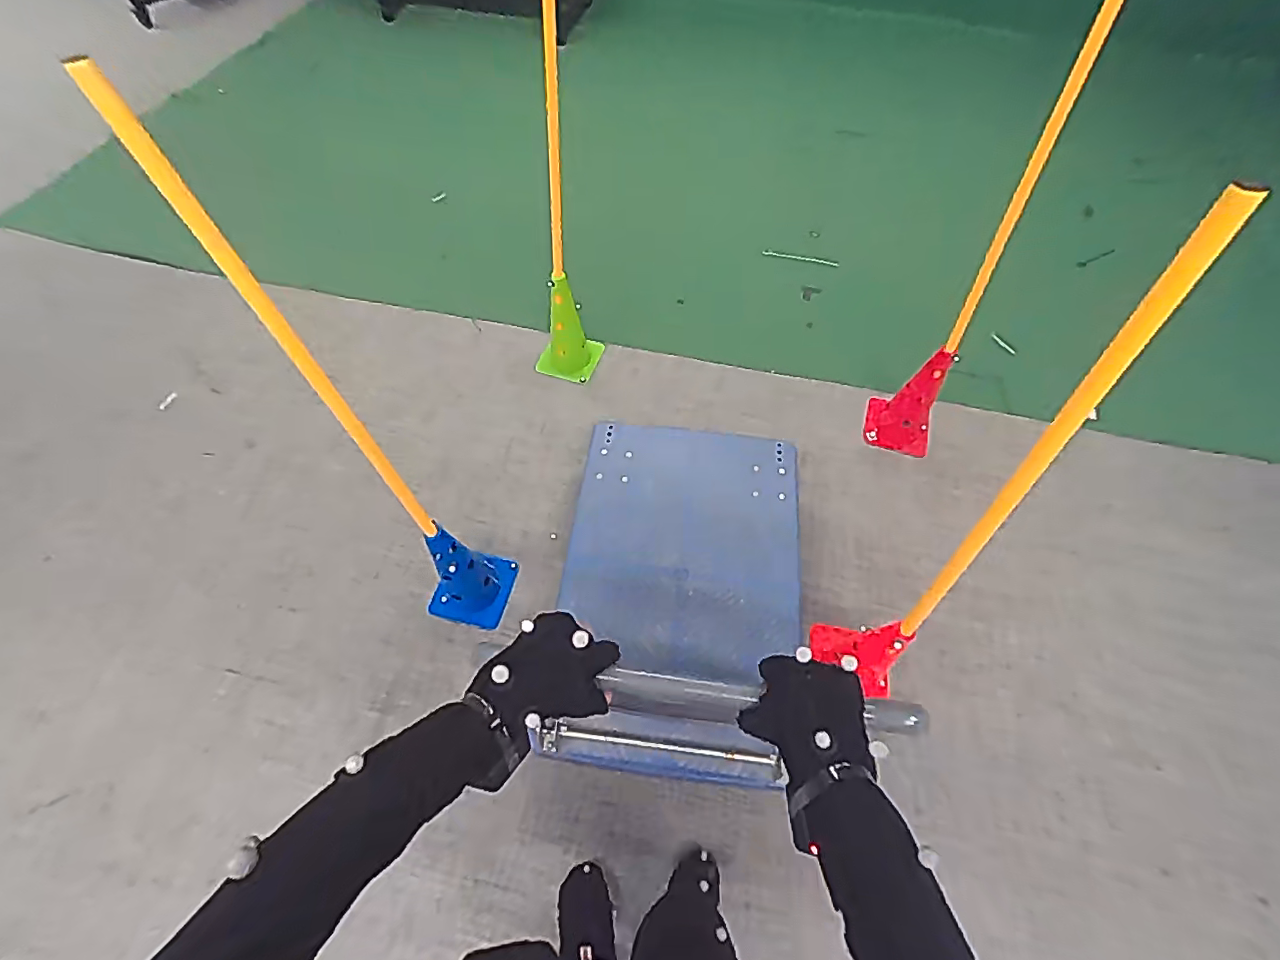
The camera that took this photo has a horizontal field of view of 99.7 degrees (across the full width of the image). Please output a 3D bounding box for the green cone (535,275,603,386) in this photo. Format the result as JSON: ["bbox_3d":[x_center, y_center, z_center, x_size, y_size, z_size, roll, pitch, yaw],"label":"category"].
[{"bbox_3d":[-0.254,-0.516,1.791,0.202,0.368,0.200,15,59,10],"label":"green cone"}]

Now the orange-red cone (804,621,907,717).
[{"bbox_3d":[0.524,0.399,1.245,0.199,0.360,0.198,11,59,8],"label":"orange-red cone"}]
